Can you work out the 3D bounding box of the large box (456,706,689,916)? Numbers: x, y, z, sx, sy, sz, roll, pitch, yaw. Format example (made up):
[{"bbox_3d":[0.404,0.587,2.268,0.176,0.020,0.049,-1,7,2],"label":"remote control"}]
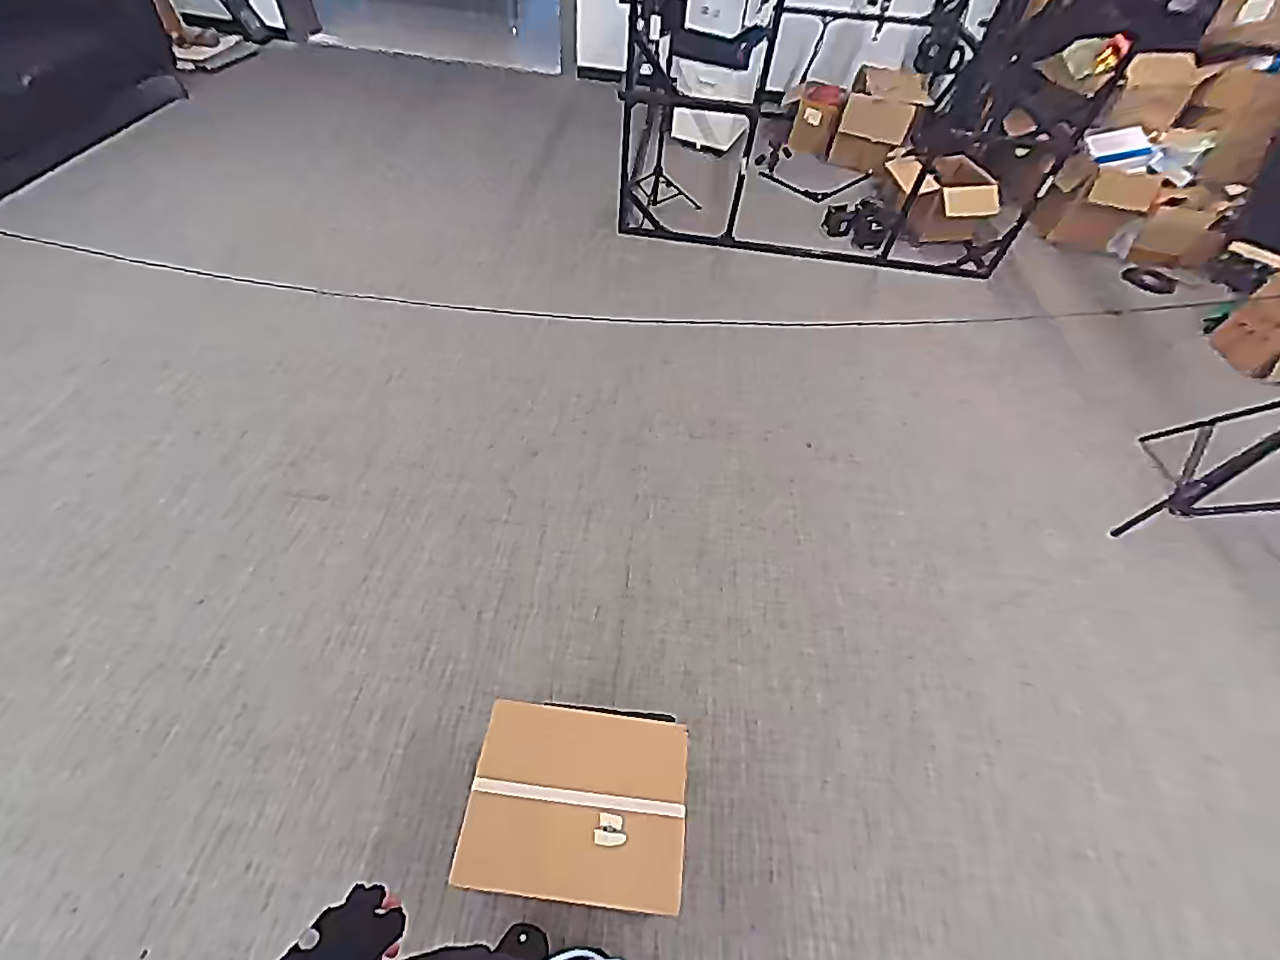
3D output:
[{"bbox_3d":[-0.125,0.702,1.139,0.408,0.320,0.320,8,52,0],"label":"large box"}]
